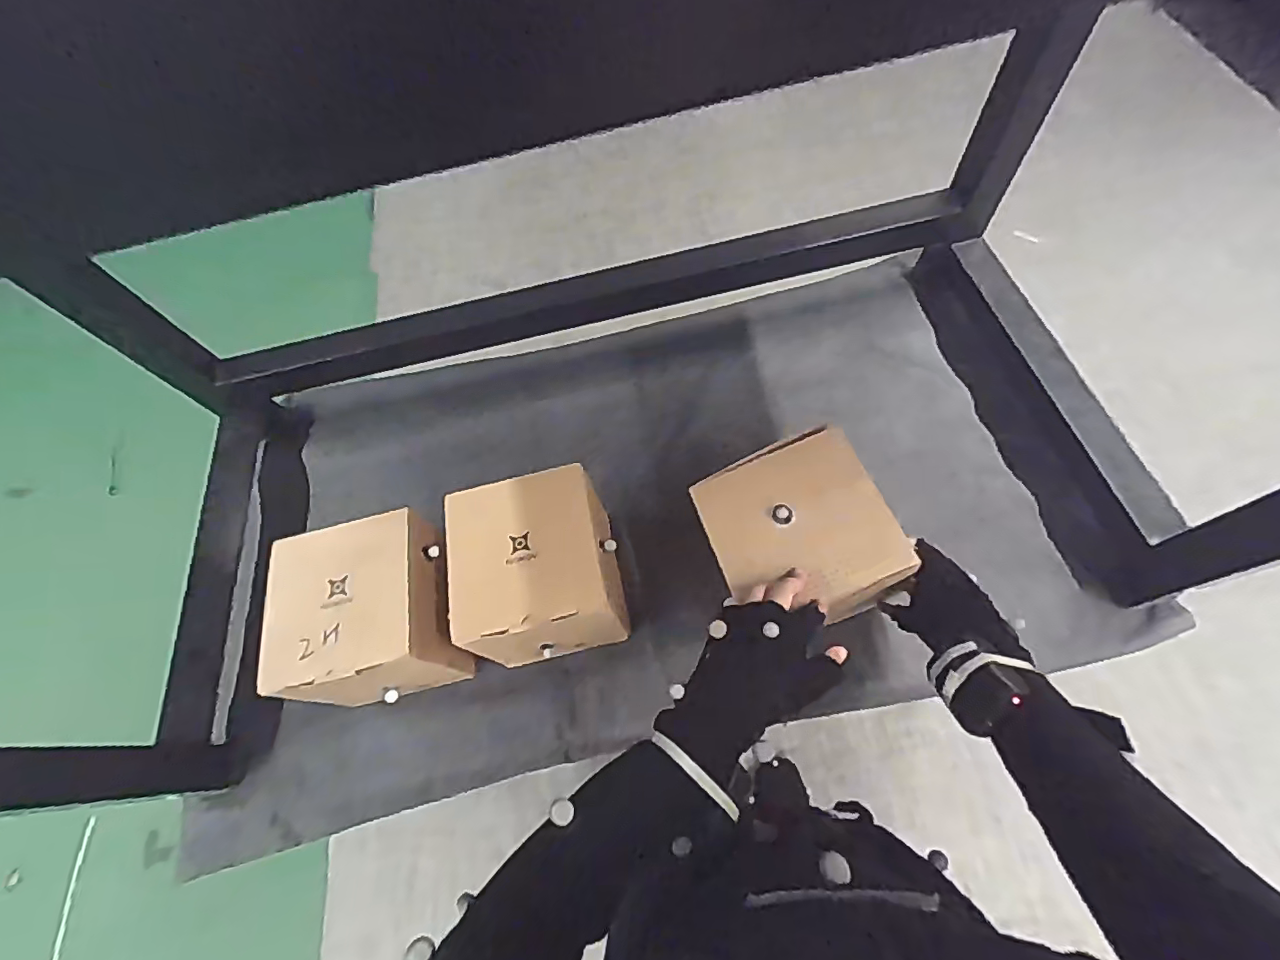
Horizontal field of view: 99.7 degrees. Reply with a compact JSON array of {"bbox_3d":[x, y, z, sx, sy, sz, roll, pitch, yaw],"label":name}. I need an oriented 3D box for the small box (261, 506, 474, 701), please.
[{"bbox_3d":[-0.316,0.158,0.664,0.168,0.176,0.179,-14,63,1],"label":"small box"}]
